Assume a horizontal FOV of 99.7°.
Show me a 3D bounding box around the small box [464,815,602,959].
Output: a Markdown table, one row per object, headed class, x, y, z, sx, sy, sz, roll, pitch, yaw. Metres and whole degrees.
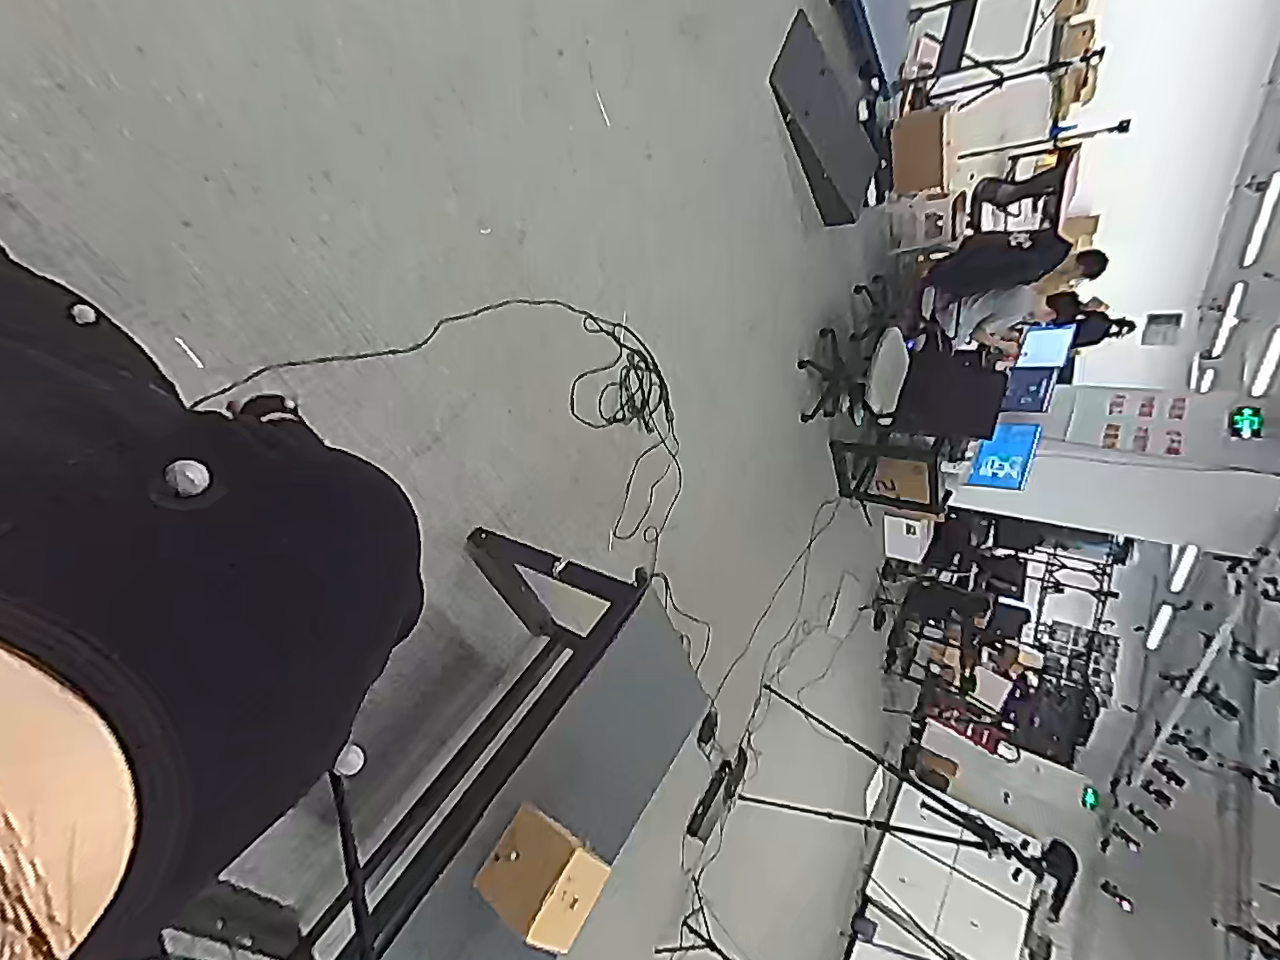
| class | x | y | z | sx | sy | sz | roll | pitch | yaw |
| --- | --- | --- | --- | --- | --- | --- | --- | --- | --- |
| small box | -0.211 | 0.812 | 1.082 | 0.168 | 0.176 | 0.179 | -53 | 136 | -29 |
